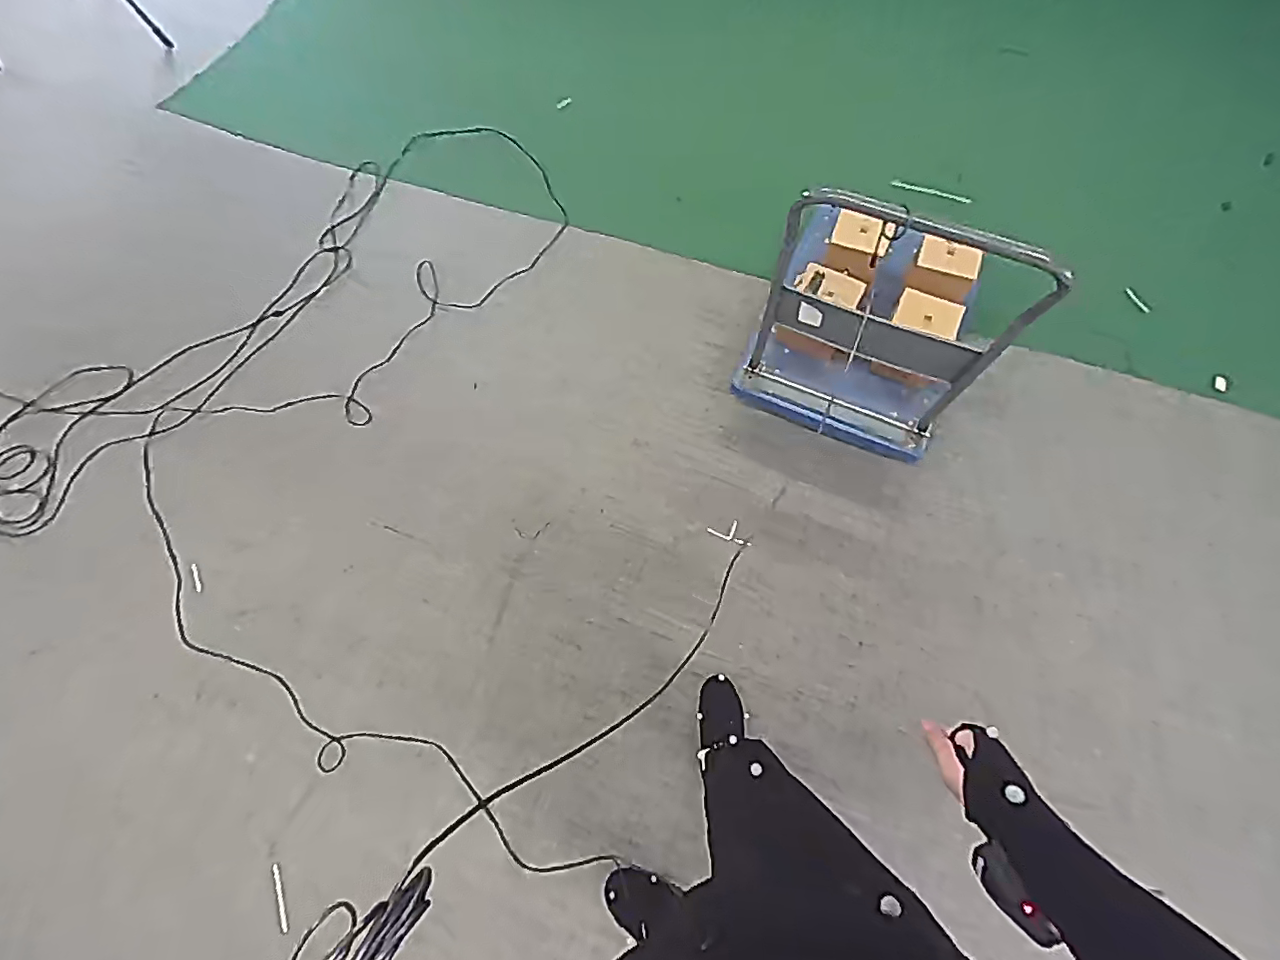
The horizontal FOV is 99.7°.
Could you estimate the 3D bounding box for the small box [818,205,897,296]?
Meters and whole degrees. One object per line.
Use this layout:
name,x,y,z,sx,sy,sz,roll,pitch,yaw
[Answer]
small box,0.667,-0.705,1.676,0.168,0.176,0.179,20,69,10

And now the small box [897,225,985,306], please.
small box,0.899,-0.622,1.629,0.168,0.176,0.179,20,70,12

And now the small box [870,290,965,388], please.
small box,0.781,-0.398,1.538,0.168,0.176,0.179,24,70,13
